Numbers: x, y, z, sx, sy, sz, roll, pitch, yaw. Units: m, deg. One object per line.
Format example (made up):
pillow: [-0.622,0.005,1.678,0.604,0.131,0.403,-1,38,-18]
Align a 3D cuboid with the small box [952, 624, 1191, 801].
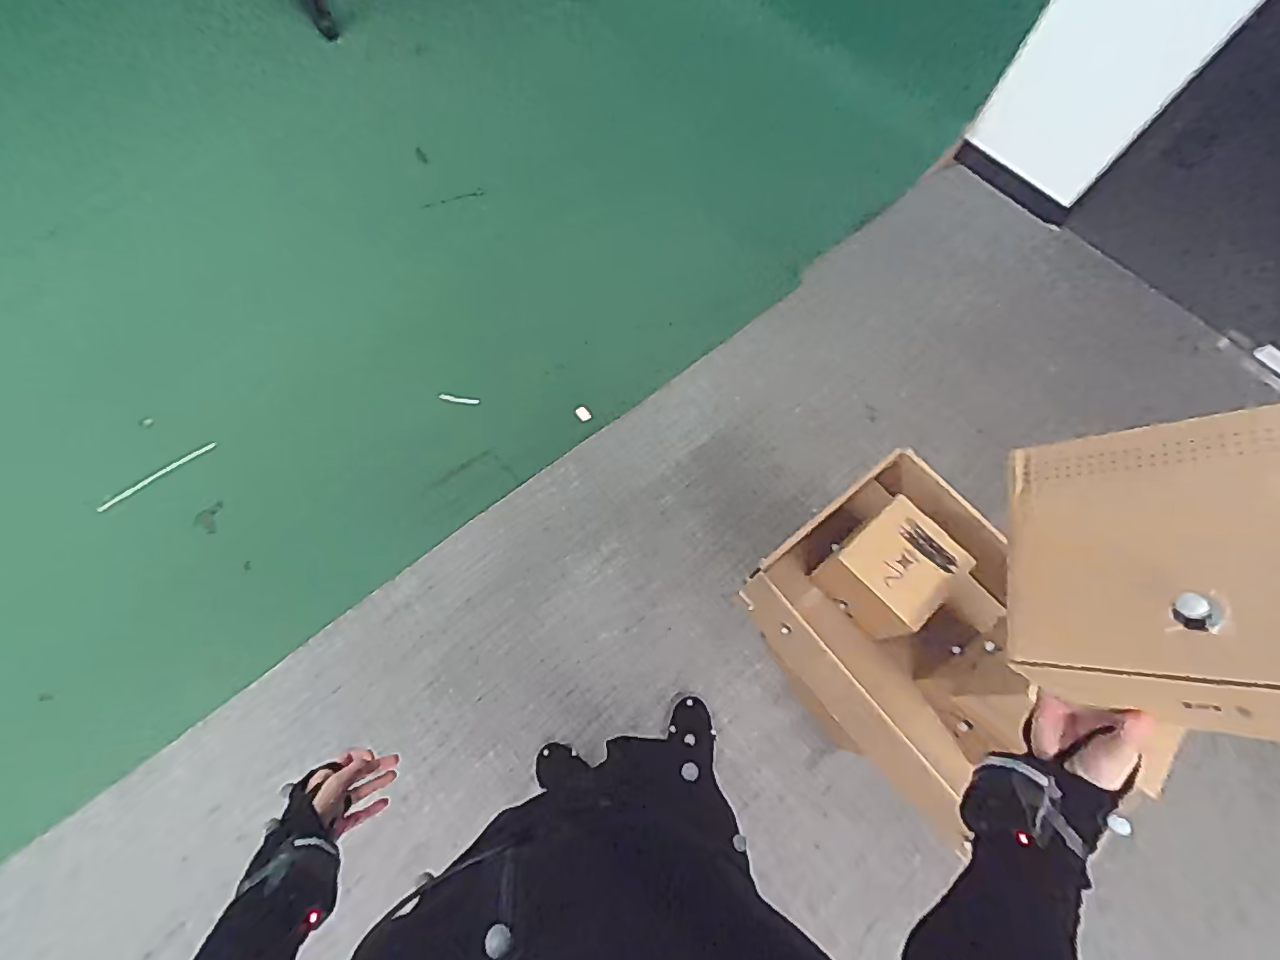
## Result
small box: [0.587,0.299,0.749,0.179,0.176,0.168,41,71,14]

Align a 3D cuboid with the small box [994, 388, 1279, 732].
small box: [0.371,0.060,0.368,0.168,0.179,0.176,30,63,-31]
